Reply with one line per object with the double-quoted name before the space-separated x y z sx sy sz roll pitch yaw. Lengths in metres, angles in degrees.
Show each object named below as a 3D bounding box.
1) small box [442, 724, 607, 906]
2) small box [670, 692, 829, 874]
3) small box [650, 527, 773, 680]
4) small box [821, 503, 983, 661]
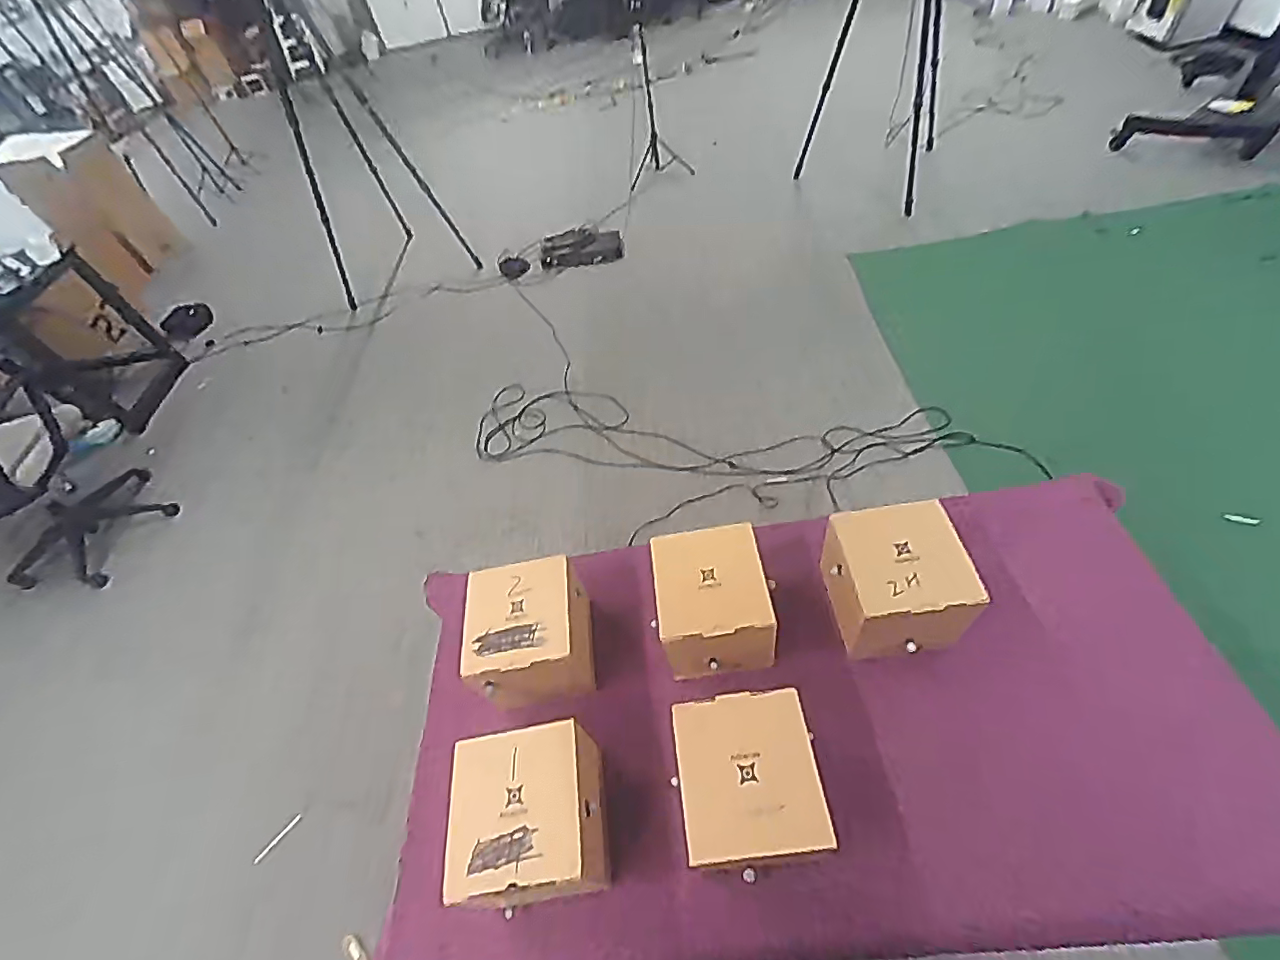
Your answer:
"small box" -0.145 0.456 0.730 0.168 0.176 0.179 -12 48 3
"small box" 0.137 0.402 0.714 0.168 0.176 0.179 -10 51 5
"small box" 0.113 0.203 0.879 0.168 0.176 0.179 -10 52 5
"small box" 0.389 0.162 0.846 0.168 0.176 0.179 -9 51 6
